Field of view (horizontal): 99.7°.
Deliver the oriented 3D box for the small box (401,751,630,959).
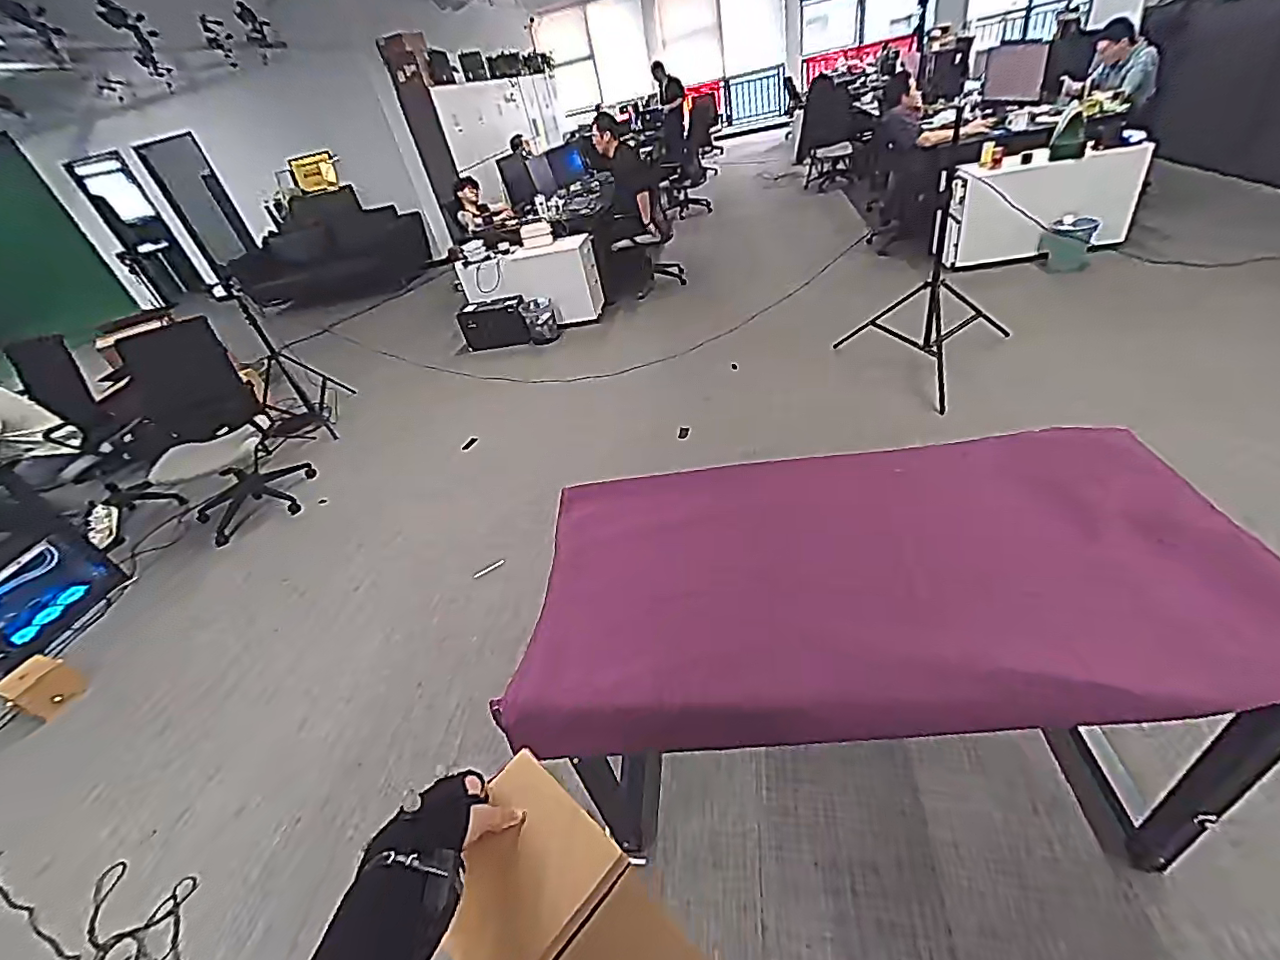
[{"bbox_3d":[-0.125,0.454,0.605,0.179,0.176,0.168,30,51,32],"label":"small box"}]
